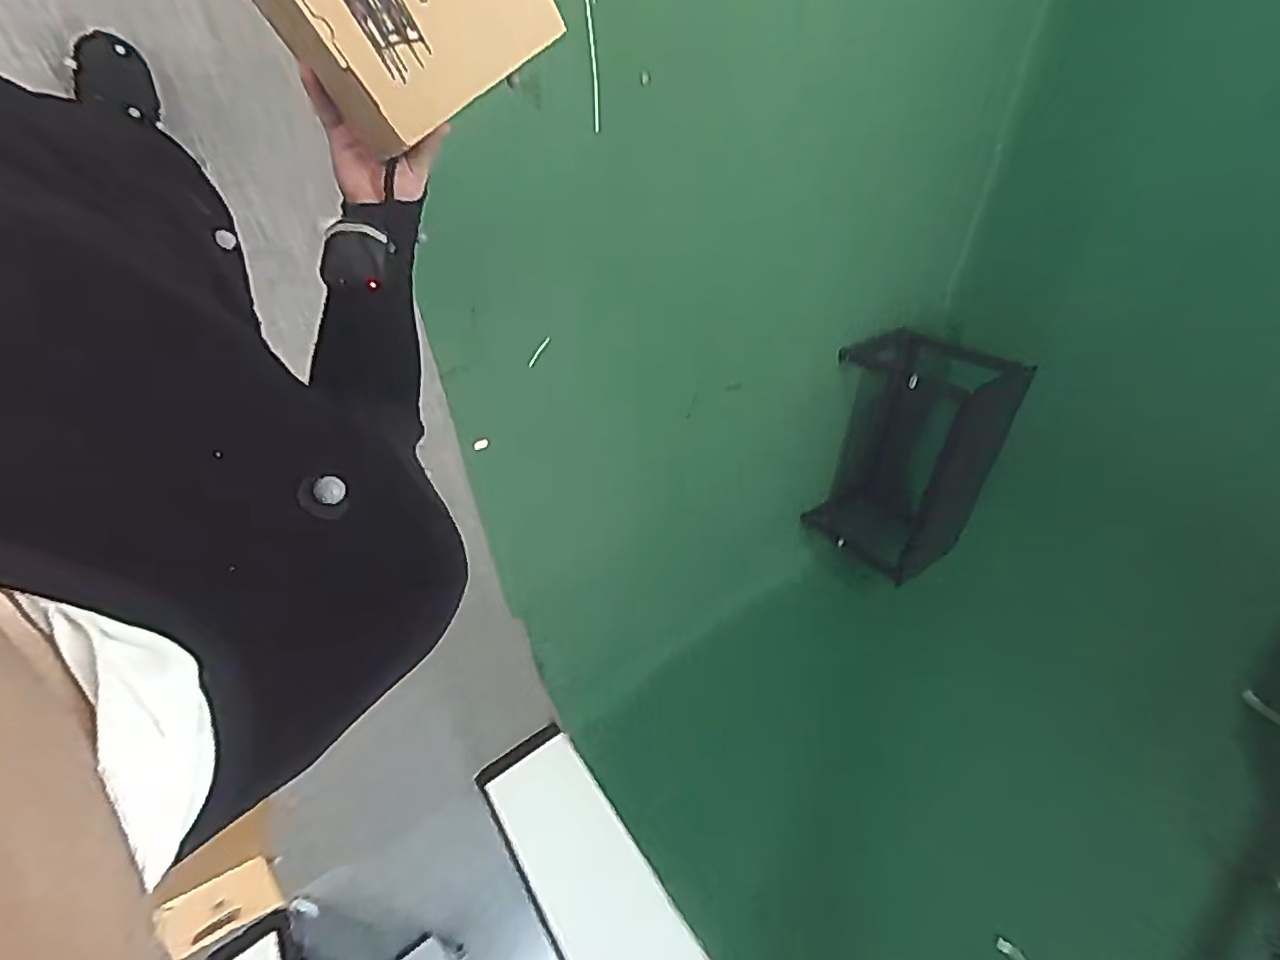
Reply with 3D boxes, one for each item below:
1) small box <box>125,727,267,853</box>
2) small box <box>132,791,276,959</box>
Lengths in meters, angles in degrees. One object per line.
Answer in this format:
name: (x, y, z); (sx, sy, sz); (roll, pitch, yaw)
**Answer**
small box: (-0.890, 0.645, 1.096); (0.168, 0.176, 0.179); (-25, 130, -27)
small box: (-0.789, 0.722, 0.991); (0.168, 0.176, 0.179); (-16, 126, -33)
